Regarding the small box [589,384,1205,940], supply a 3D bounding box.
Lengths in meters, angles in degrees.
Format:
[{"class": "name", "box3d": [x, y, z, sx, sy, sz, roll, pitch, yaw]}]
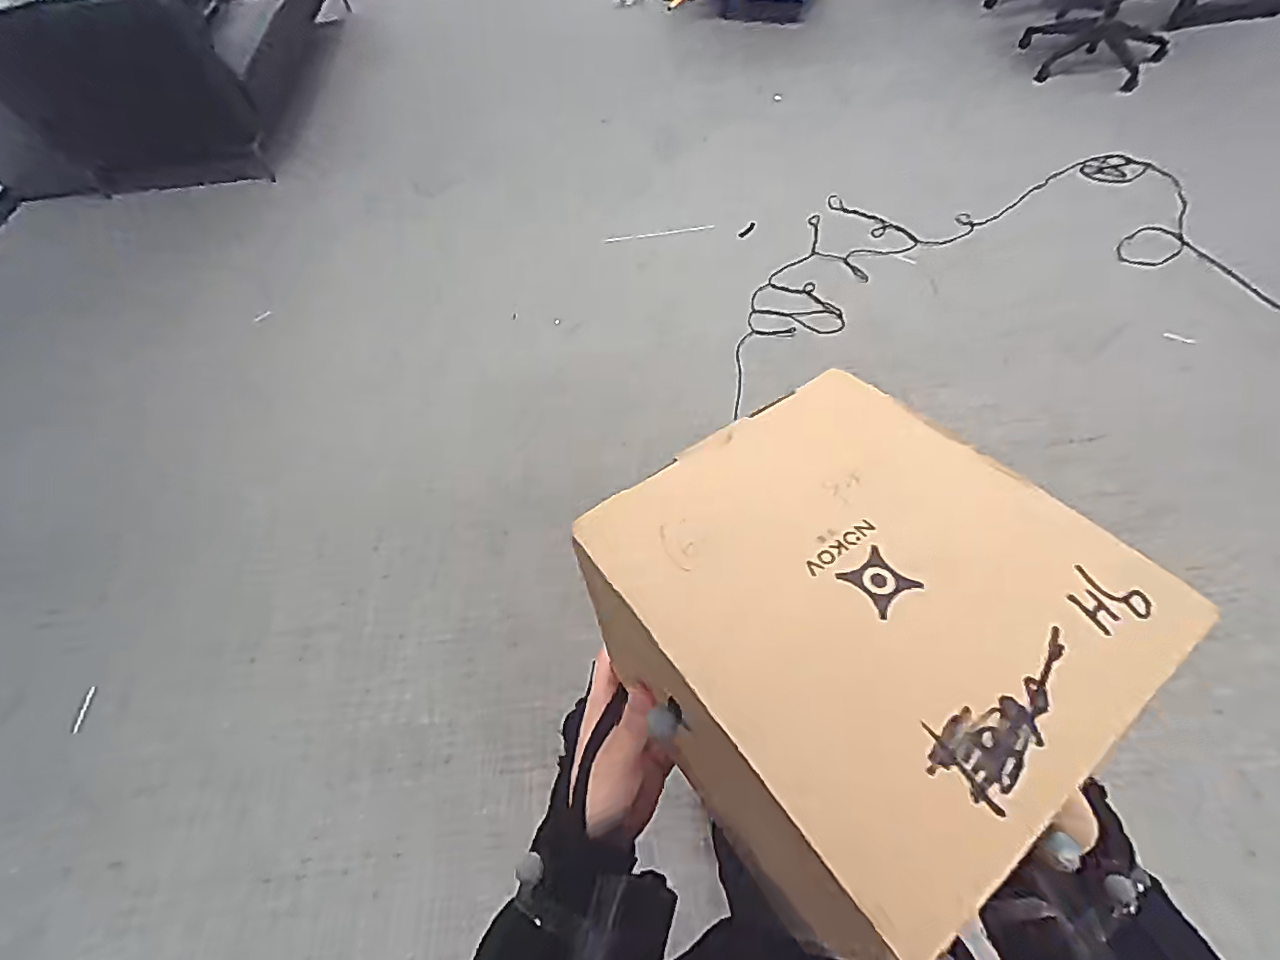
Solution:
[{"class": "small box", "box3d": [0.096, 0.088, 0.277, 0.168, 0.176, 0.179, -32, 54, -19]}]
